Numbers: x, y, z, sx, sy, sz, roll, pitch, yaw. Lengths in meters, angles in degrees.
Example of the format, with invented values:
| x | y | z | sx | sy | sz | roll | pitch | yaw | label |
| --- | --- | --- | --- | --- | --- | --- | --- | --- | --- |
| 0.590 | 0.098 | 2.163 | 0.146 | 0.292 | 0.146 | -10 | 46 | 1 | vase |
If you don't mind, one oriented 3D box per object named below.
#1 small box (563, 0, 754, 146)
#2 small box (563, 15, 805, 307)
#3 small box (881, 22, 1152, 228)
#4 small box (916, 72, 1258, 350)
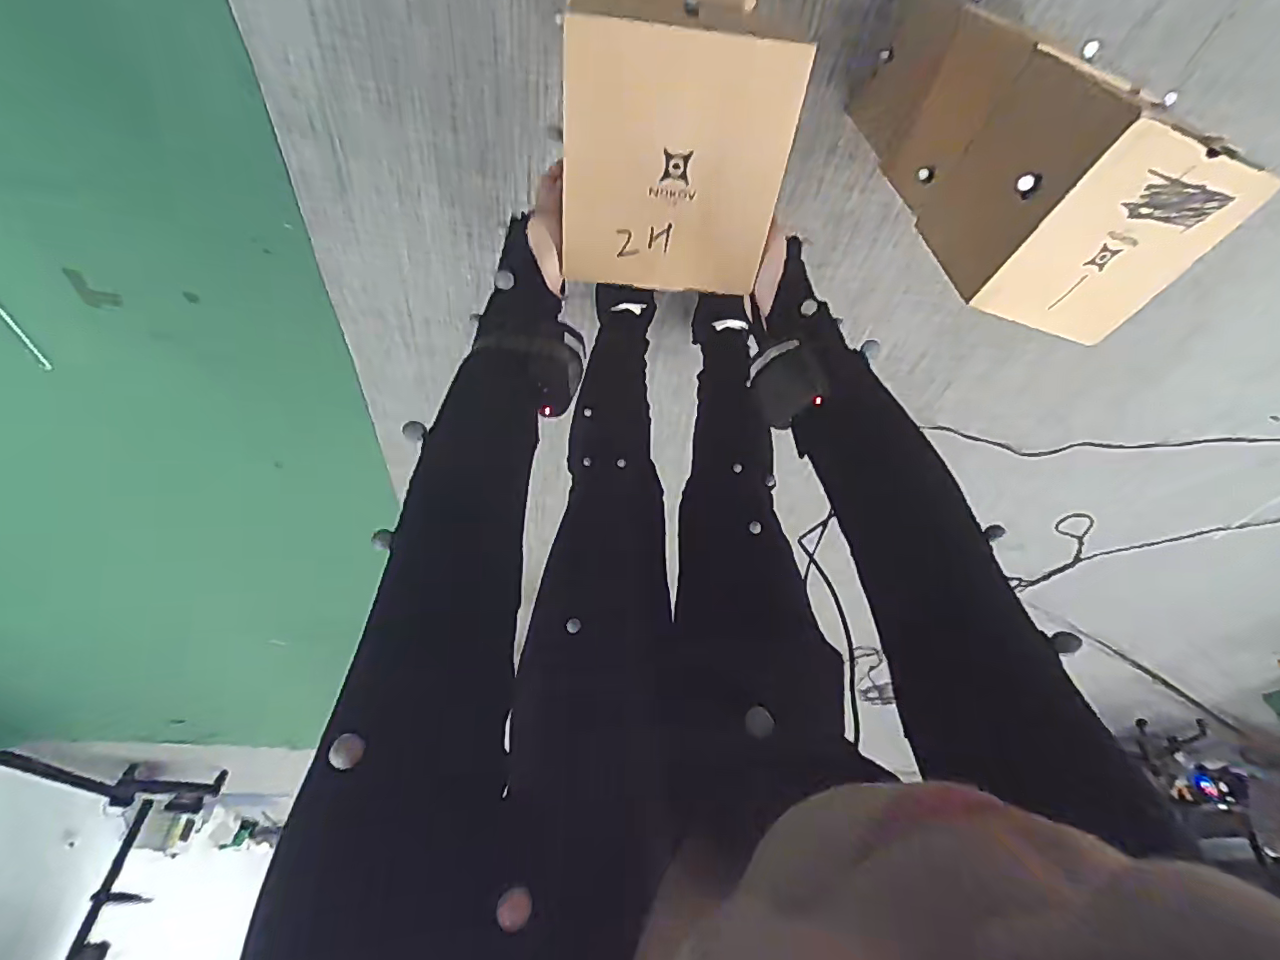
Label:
| x | y | z | sx | sy | sz | roll | pitch | yaw | label |
| --- | --- | --- | --- | --- | --- | --- | --- | --- | --- |
| 0.012 | -0.460 | 0.570 | 0.168 | 0.176 | 0.179 | 7 | 141 | -6 | small box |
| 0.021 | -0.277 | 0.471 | 0.168 | 0.176 | 0.179 | 3 | 136 | -5 | small box |
| 0.420 | -0.400 | 0.643 | 0.168 | 0.176 | 0.179 | 10 | 140 | -12 | small box |
| 0.418 | -0.268 | 0.546 | 0.168 | 0.176 | 0.179 | 11 | 141 | -14 | small box |
